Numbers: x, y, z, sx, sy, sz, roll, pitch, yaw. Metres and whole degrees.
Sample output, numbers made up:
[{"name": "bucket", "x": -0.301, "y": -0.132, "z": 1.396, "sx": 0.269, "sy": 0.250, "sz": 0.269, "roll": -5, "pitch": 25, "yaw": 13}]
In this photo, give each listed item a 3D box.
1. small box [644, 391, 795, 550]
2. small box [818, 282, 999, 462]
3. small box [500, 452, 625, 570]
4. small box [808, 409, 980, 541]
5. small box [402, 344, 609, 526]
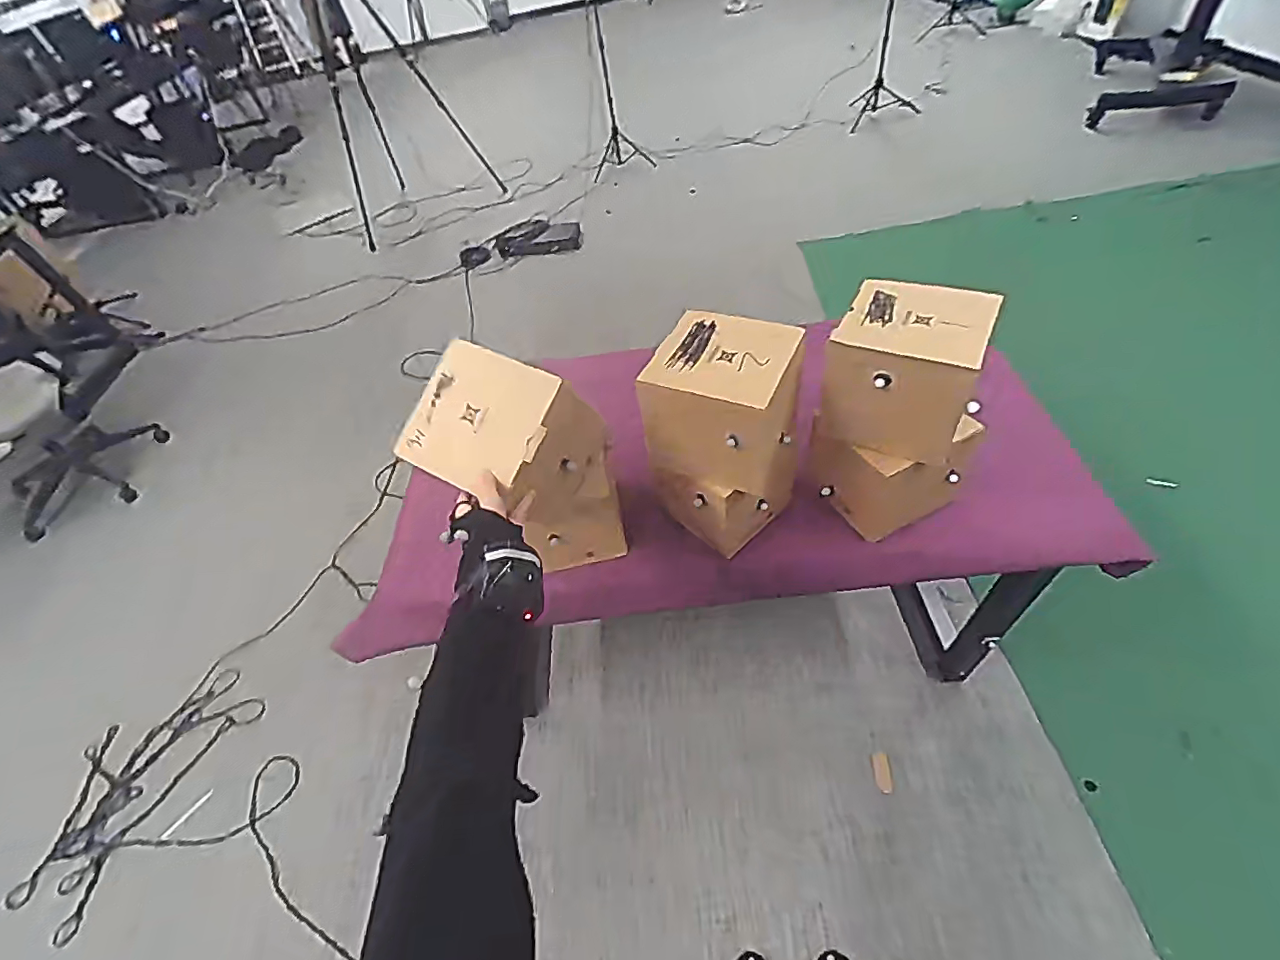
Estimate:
[{"name": "small box", "x": 0.132, "y": -0.009, "z": 0.895, "sx": 0.168, "sy": 0.176, "sz": 0.179, "roll": -38, "pitch": 53, "yaw": -21}, {"name": "small box", "x": 0.363, "y": -0.149, "z": 0.756, "sx": 0.179, "sy": 0.176, "sz": 0.168, "roll": 20, "pitch": 55, "yaw": 26}, {"name": "small box", "x": -0.128, "y": 0.034, "z": 0.911, "sx": 0.168, "sy": 0.176, "sz": 0.179, "roll": -13, "pitch": 48, "yaw": 0}, {"name": "small box", "x": 0.390, "y": -0.035, "z": 0.869, "sx": 0.179, "sy": 0.176, "sz": 0.168, "roll": -25, "pitch": 49, "yaw": -10}, {"name": "small box", "x": -0.165, "y": -0.049, "z": 0.722, "sx": 0.179, "sy": 0.176, "sz": 0.168, "roll": 23, "pitch": 81, "yaw": 21}]
